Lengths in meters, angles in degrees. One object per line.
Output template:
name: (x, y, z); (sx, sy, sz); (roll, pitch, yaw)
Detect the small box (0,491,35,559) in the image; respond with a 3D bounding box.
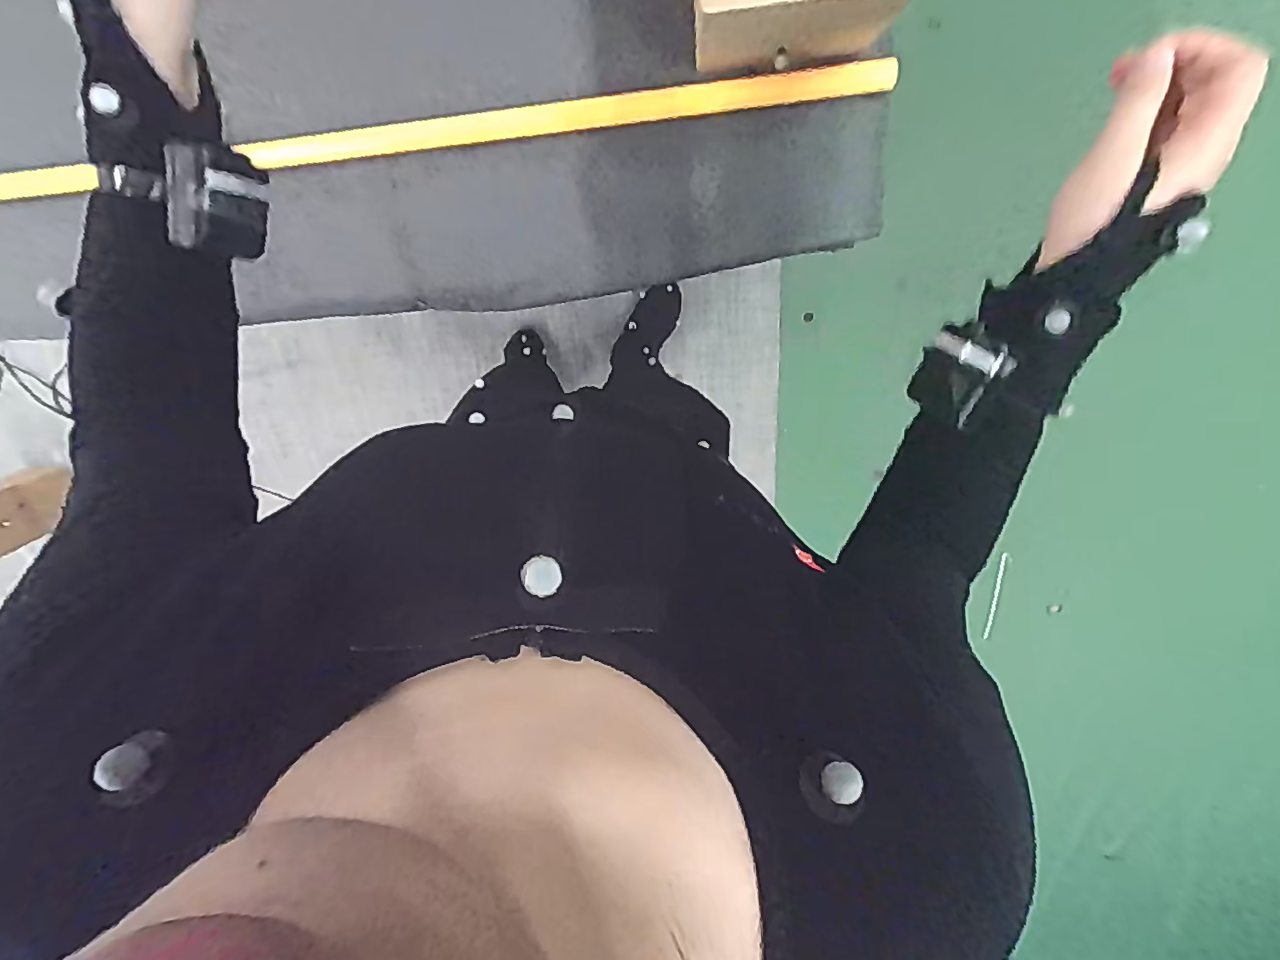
small box: (-1.838, 0.141, 1.479); (0.179, 0.176, 0.168); (-7, 114, 8)

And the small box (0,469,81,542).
small box: (-1.834, 0.077, 1.631); (0.179, 0.176, 0.168); (-6, 115, 7)
